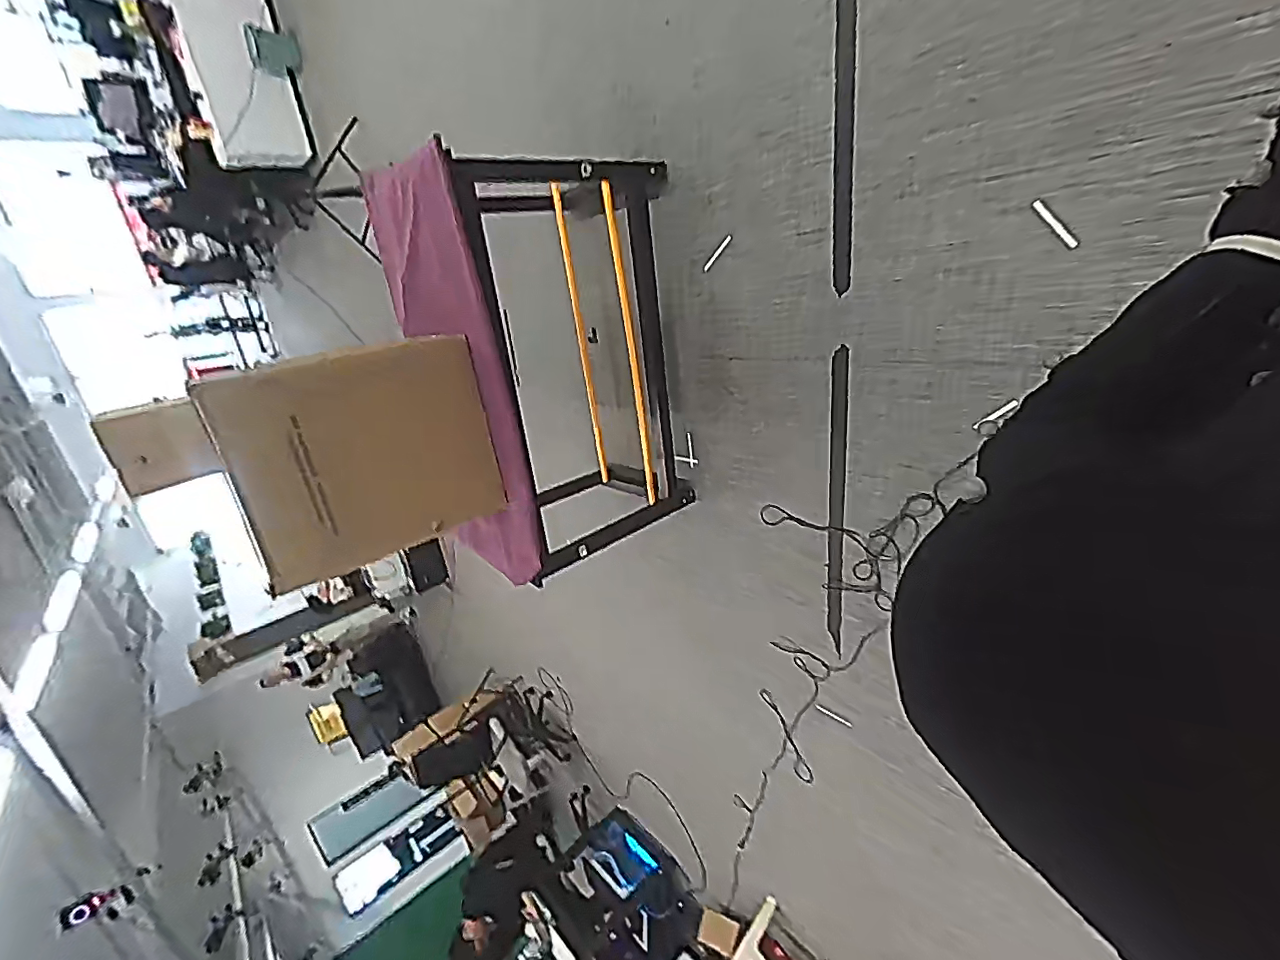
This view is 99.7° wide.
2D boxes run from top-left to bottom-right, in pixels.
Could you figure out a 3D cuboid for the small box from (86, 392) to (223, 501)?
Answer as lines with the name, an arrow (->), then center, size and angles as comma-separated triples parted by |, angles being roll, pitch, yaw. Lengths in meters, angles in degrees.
small box -> -1.042, -0.080, 1.174 | 0.168, 0.176, 0.179 | 15, 122, 46
